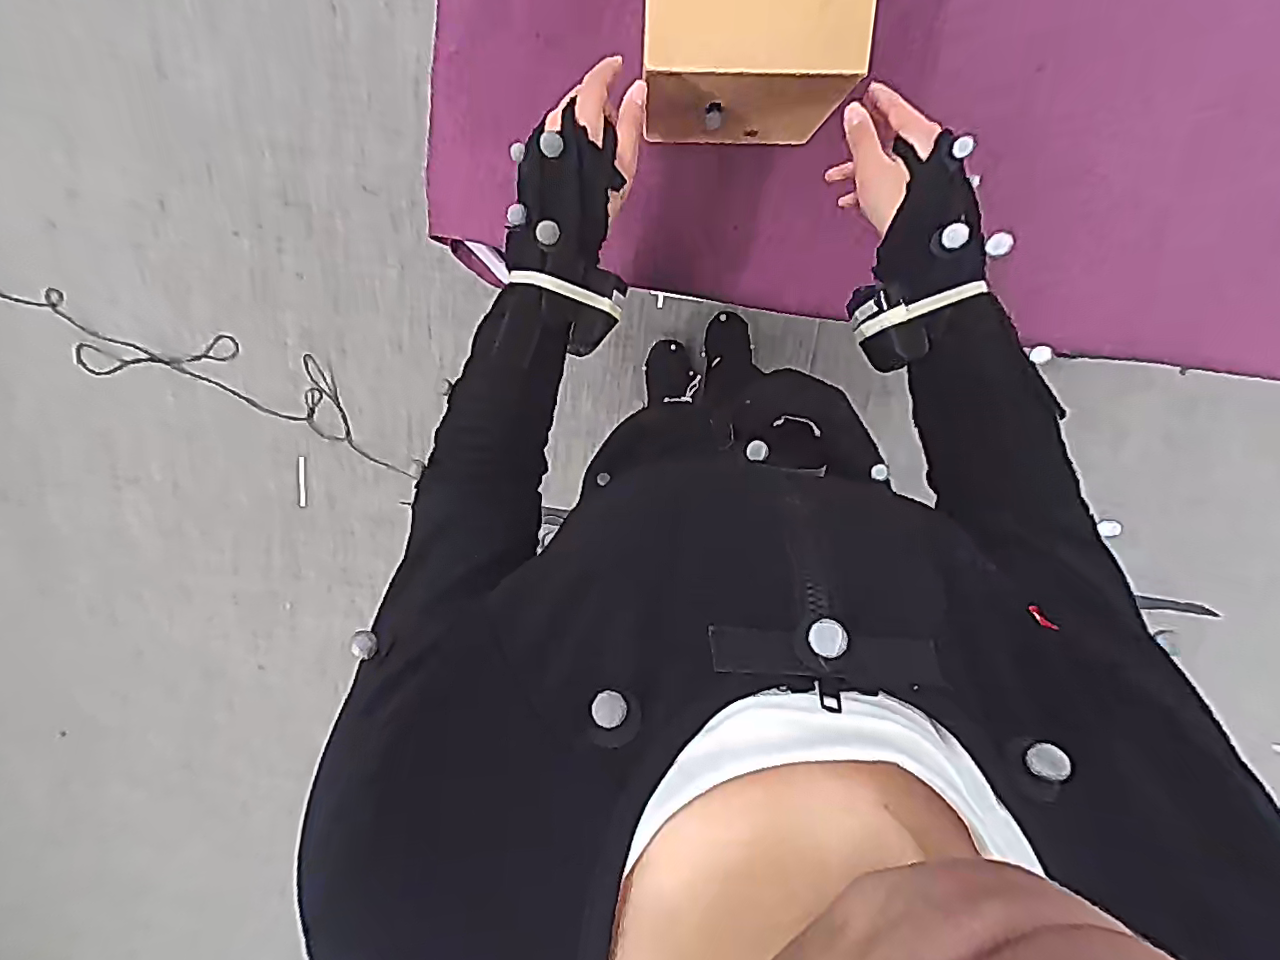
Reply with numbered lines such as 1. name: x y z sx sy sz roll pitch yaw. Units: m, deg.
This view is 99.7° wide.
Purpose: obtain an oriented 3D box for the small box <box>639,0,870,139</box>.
1. small box: 0.086 -0.406 0.450 0.168 0.176 0.179 1 105 1
